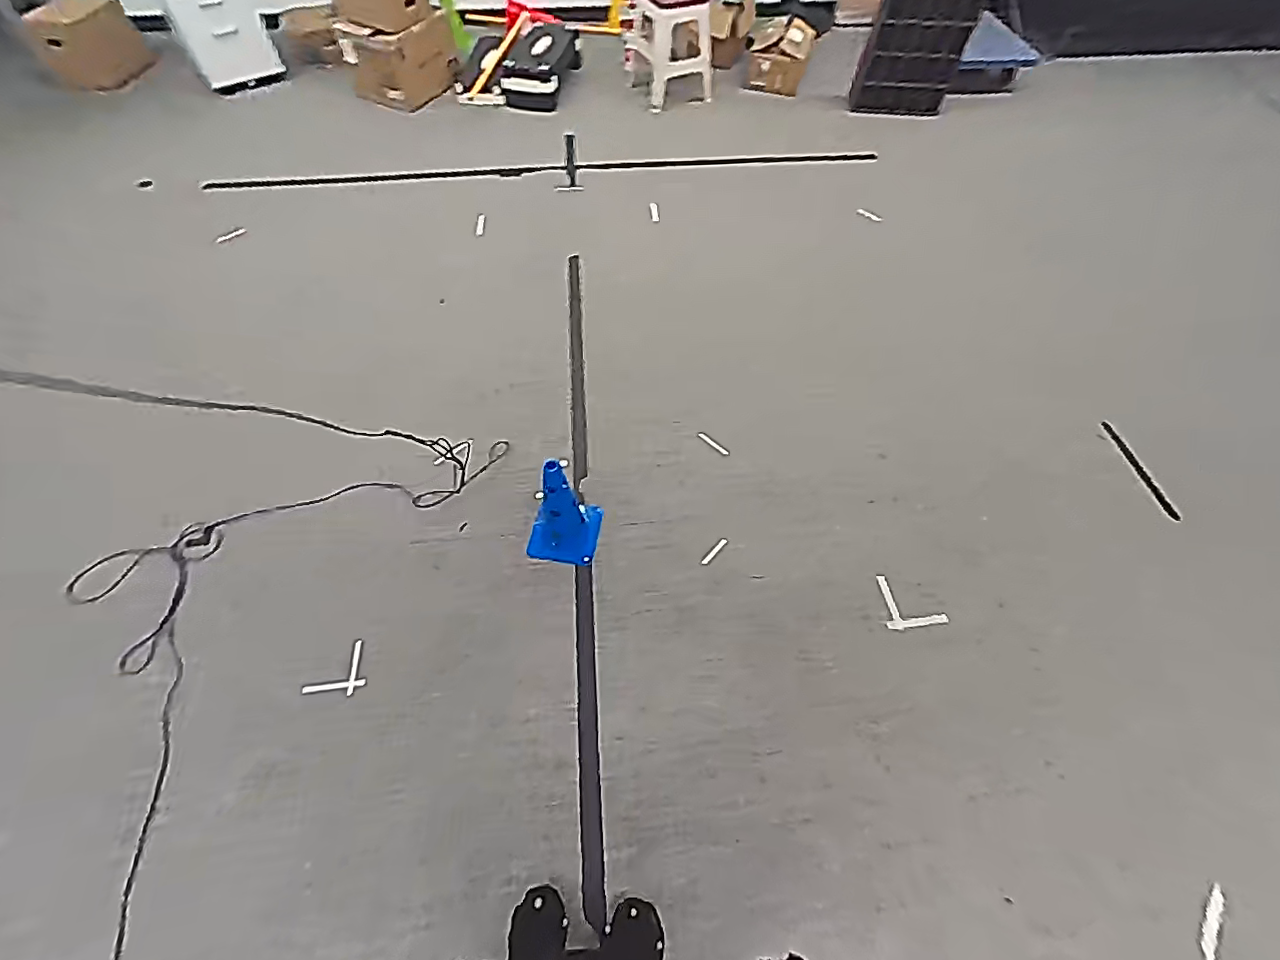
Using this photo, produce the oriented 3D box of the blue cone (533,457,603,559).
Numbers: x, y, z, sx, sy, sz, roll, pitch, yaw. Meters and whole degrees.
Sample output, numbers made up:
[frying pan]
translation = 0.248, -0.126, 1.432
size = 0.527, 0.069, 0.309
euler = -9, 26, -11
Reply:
[blue cone]
translation = -0.211, 0.055, 1.488
size = 0.192, 0.380, 0.193
euler = 11, 58, 4
